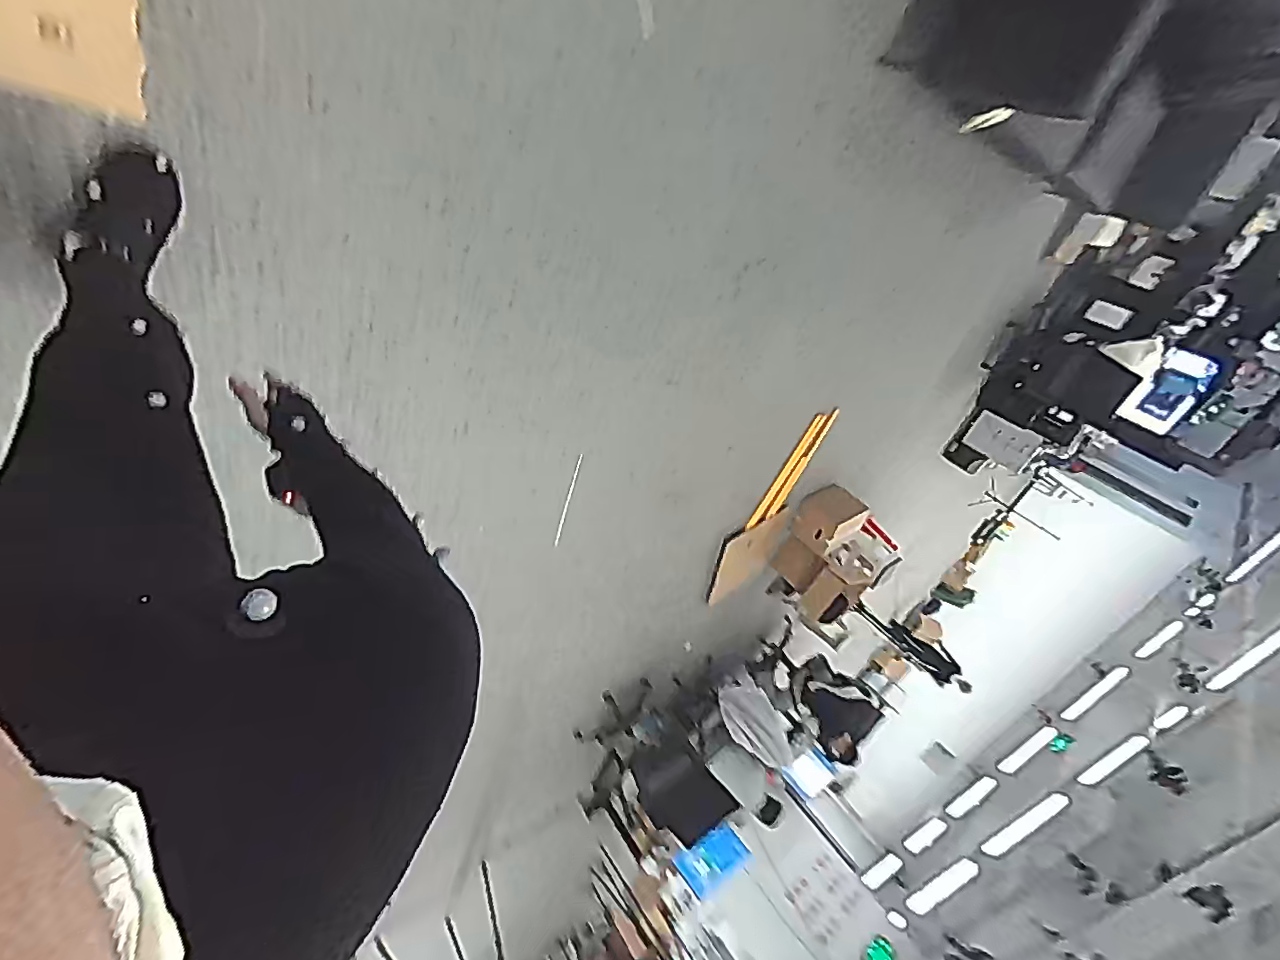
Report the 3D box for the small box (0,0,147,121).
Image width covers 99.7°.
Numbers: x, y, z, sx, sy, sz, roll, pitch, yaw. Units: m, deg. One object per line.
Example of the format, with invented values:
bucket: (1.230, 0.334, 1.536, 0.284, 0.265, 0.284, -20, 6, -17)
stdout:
small box: (-0.830, -0.645, 0.768, 0.179, 0.176, 0.168, -8, 130, -43)
